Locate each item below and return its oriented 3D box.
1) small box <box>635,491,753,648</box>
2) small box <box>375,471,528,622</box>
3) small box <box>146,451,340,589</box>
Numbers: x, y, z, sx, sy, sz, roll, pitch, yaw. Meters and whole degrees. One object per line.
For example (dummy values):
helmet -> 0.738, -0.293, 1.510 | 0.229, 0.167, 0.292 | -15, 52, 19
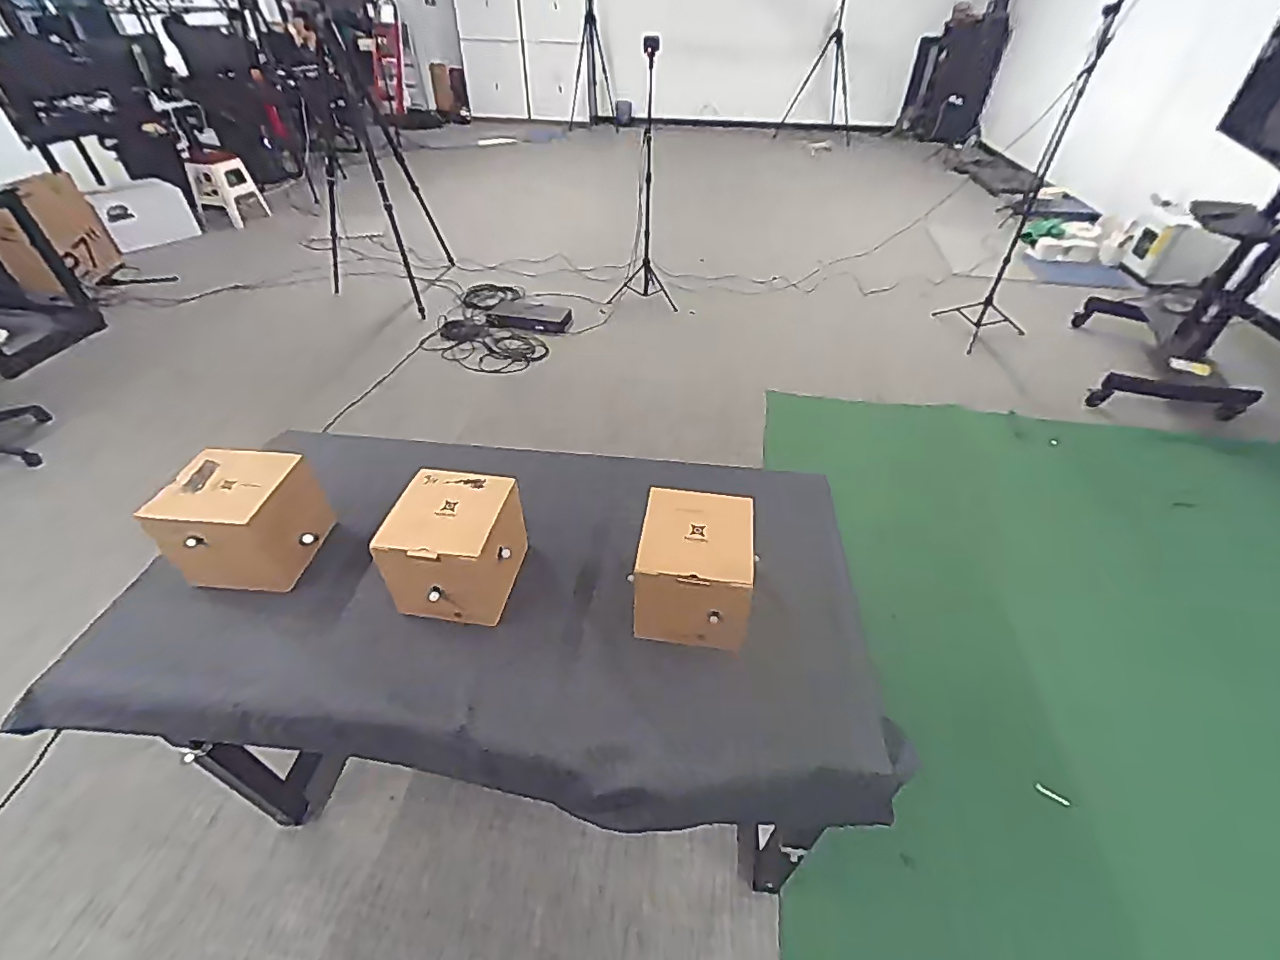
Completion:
small box -> 0.086, 0.142, 0.859 | 0.168, 0.176, 0.179 | 6, 41, 5
small box -> -0.291, 0.110, 0.886 | 0.168, 0.176, 0.179 | 6, 42, 6
small box -> -0.657, 0.069, 0.922 | 0.179, 0.176, 0.168 | 4, 42, 2
